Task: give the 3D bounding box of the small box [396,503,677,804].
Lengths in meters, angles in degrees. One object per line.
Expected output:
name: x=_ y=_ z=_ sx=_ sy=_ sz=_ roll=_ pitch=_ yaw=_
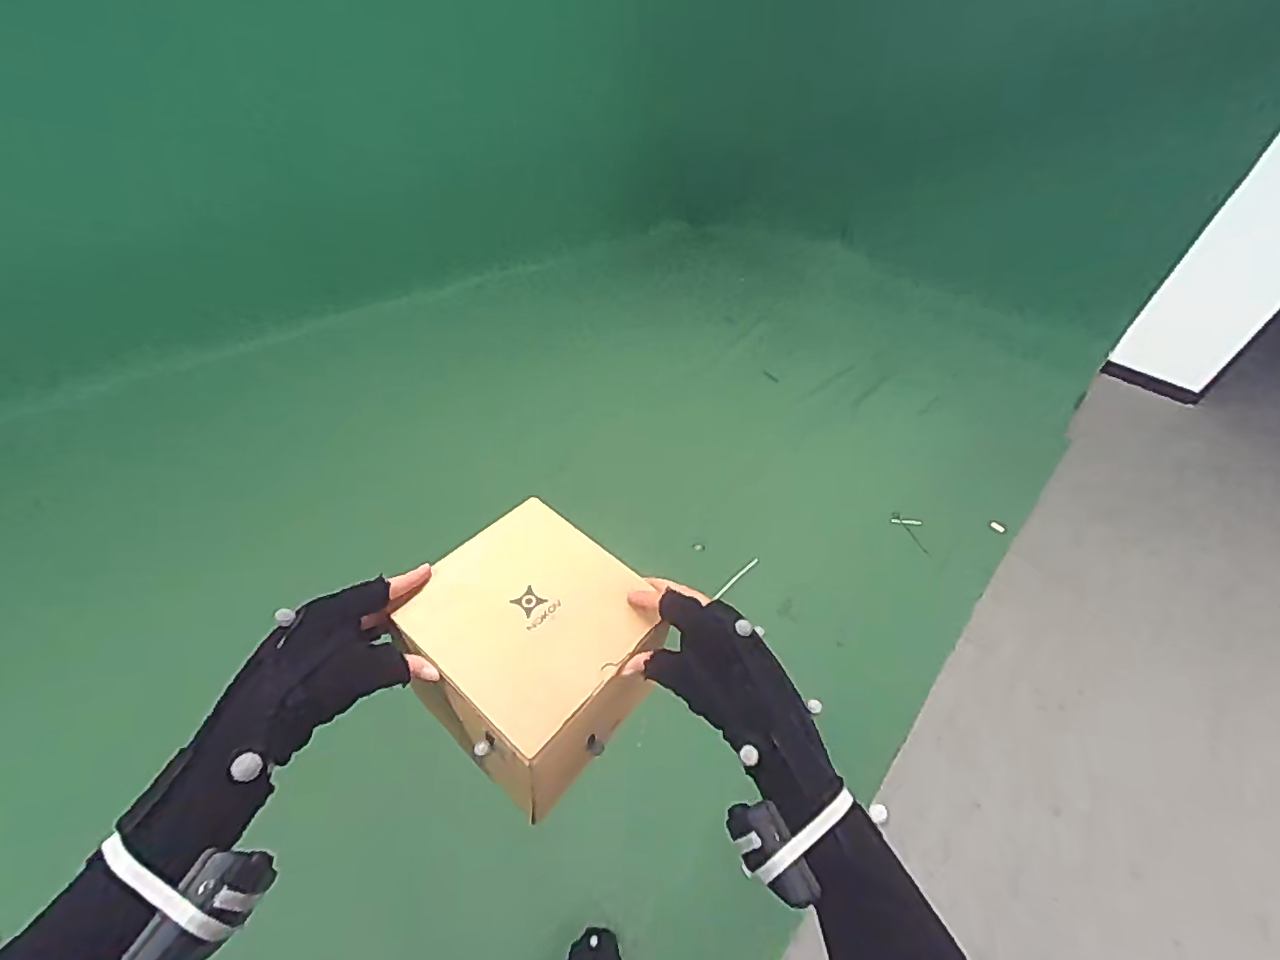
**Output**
small box: x=-0.094 y=0.160 z=0.506 sx=0.179 sy=0.176 sz=0.168 roll=35 pitch=49 yaw=21
